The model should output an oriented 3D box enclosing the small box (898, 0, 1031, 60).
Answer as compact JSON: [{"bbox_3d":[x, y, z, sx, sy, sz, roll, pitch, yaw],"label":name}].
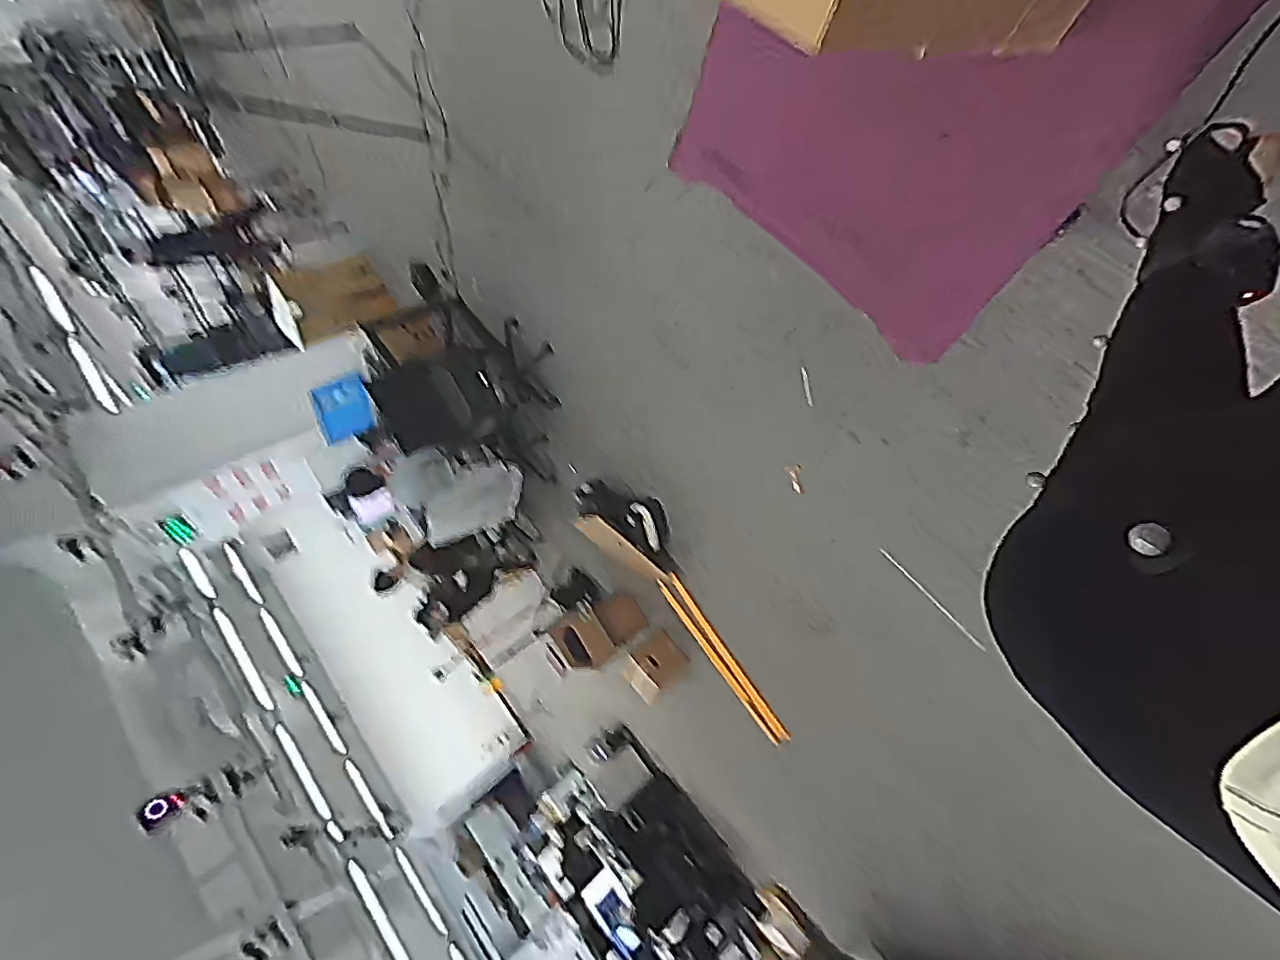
[{"bbox_3d":[0.273,-0.501,0.463,0.168,0.176,0.179,49,148,18],"label":"small box"}]

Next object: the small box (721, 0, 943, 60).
[{"bbox_3d":[0.148,-0.435,0.382,0.179,0.176,0.168,48,147,19],"label":"small box"}]
